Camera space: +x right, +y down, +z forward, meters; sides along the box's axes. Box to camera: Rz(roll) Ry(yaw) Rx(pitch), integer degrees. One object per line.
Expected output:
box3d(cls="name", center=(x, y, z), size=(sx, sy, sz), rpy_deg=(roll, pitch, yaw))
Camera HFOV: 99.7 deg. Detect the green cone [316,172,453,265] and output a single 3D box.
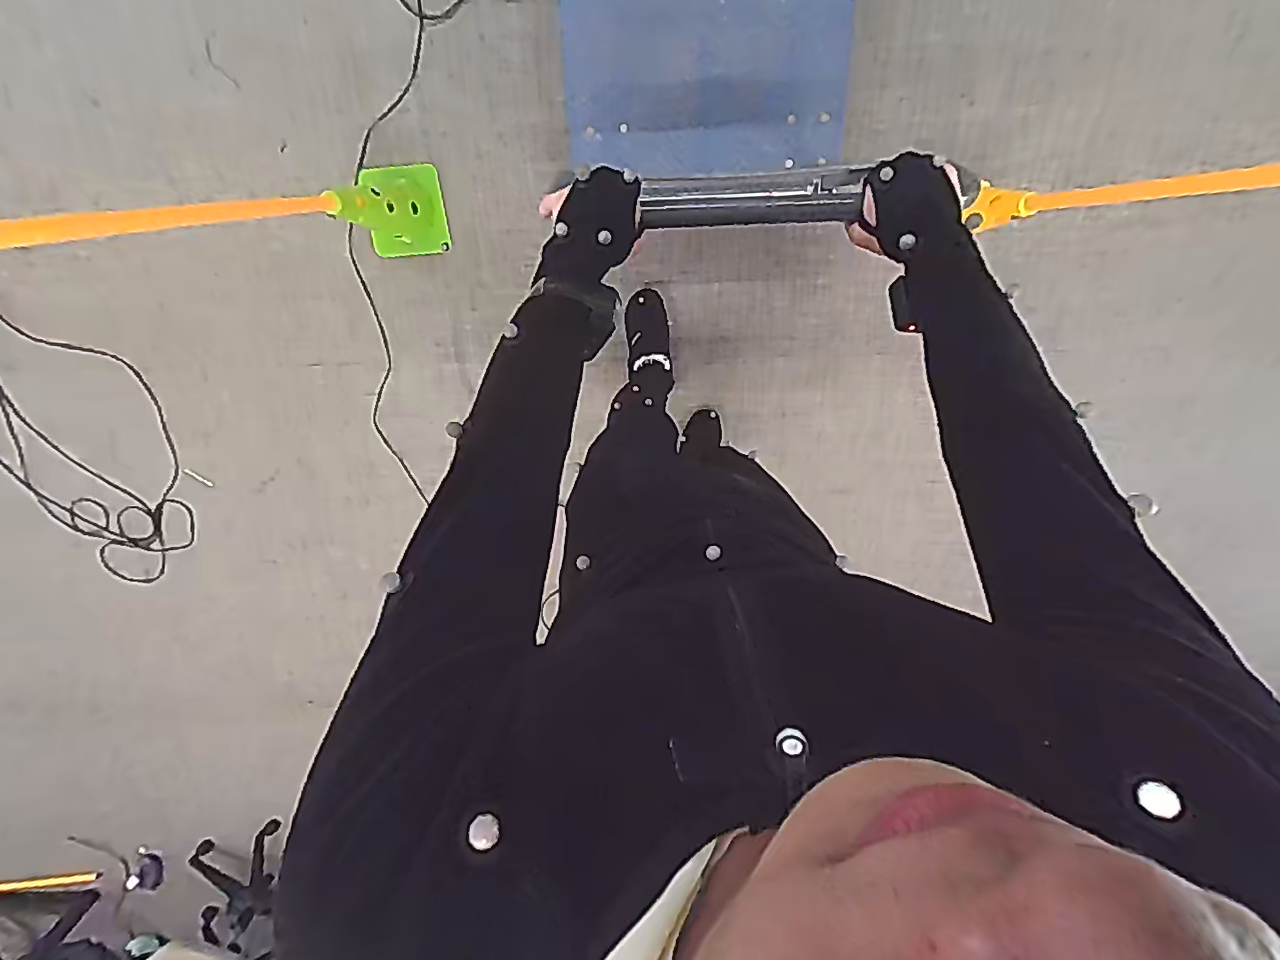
box3d(cls="green cone", center=(-0.592, -0.591, 1.206), size=(0.202, 0.368, 0.200), rpy_deg=(-4, 112, 5))
